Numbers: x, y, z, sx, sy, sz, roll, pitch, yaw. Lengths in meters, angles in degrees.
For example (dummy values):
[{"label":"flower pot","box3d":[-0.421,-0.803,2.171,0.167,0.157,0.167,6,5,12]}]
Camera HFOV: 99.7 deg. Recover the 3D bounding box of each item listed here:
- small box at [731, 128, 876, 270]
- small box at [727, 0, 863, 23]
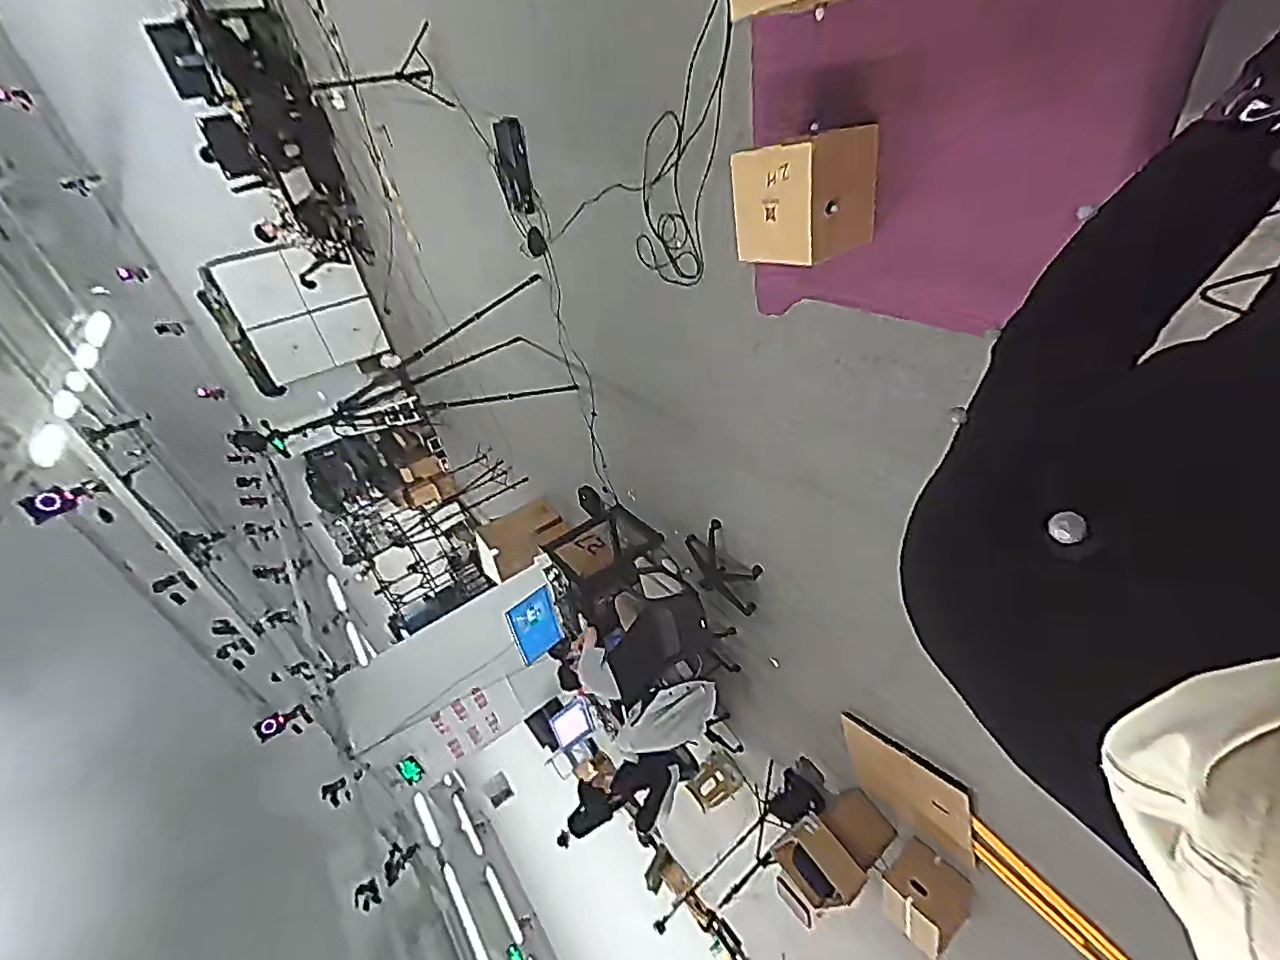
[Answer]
[{"label":"small box","box3d":[0.279,-0.477,0.921,0.168,0.176,0.179,31,142,46]},{"label":"small box","box3d":[0.232,-0.751,0.730,0.168,0.176,0.179,33,144,46]}]
